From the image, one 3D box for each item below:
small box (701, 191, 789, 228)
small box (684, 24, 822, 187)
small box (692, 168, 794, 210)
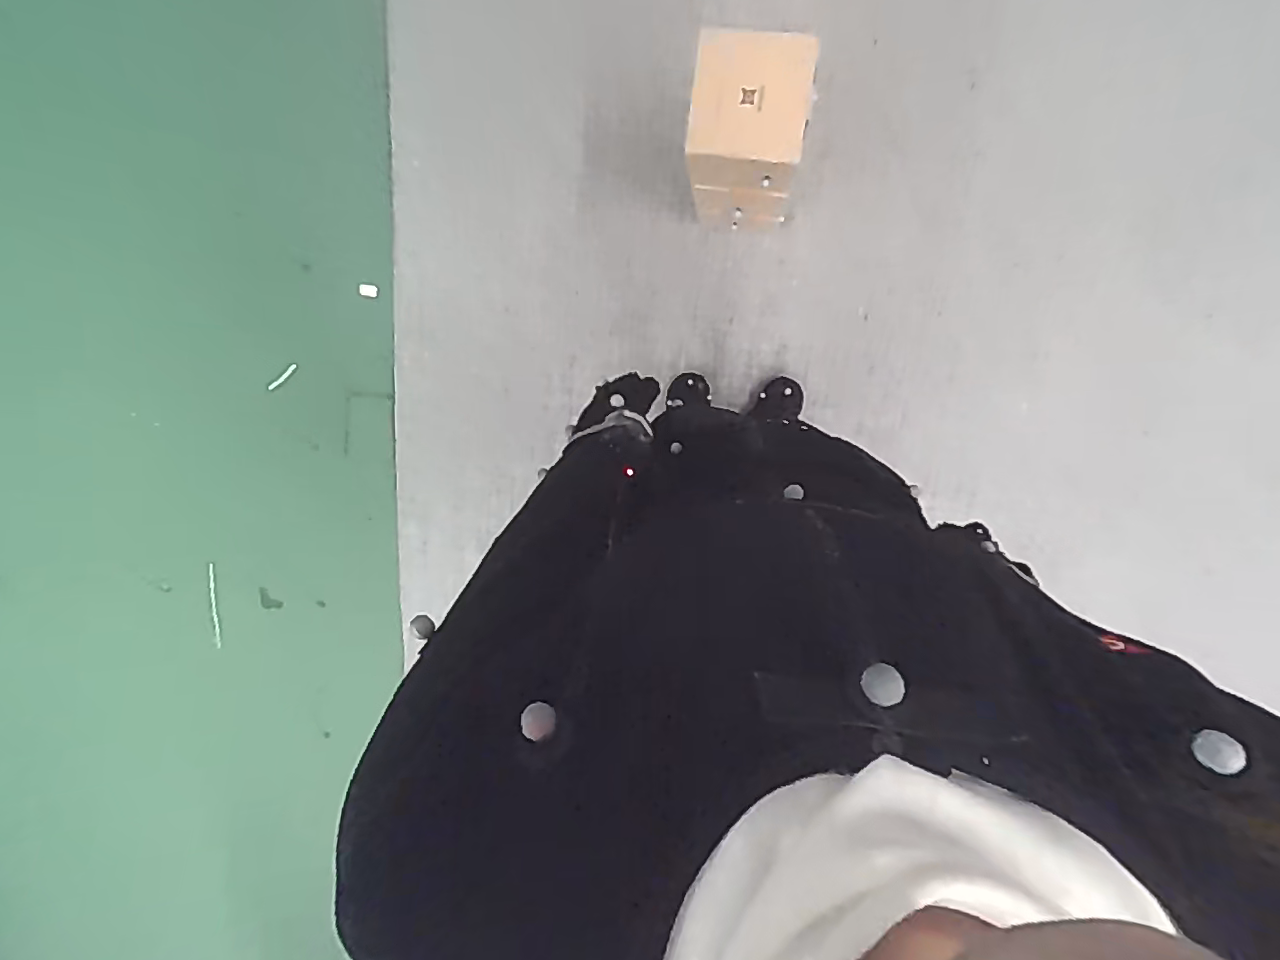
[{"bbox_3d":[0.231,-0.657,1.180,0.179,0.176,0.168,8,106,6],"label":"small box"},{"bbox_3d":[0.174,-0.585,0.867,0.179,0.176,0.168,10,105,8],"label":"small box"},{"bbox_3d":[0.202,-0.622,1.023,0.179,0.176,0.168,11,107,6],"label":"small box"}]
